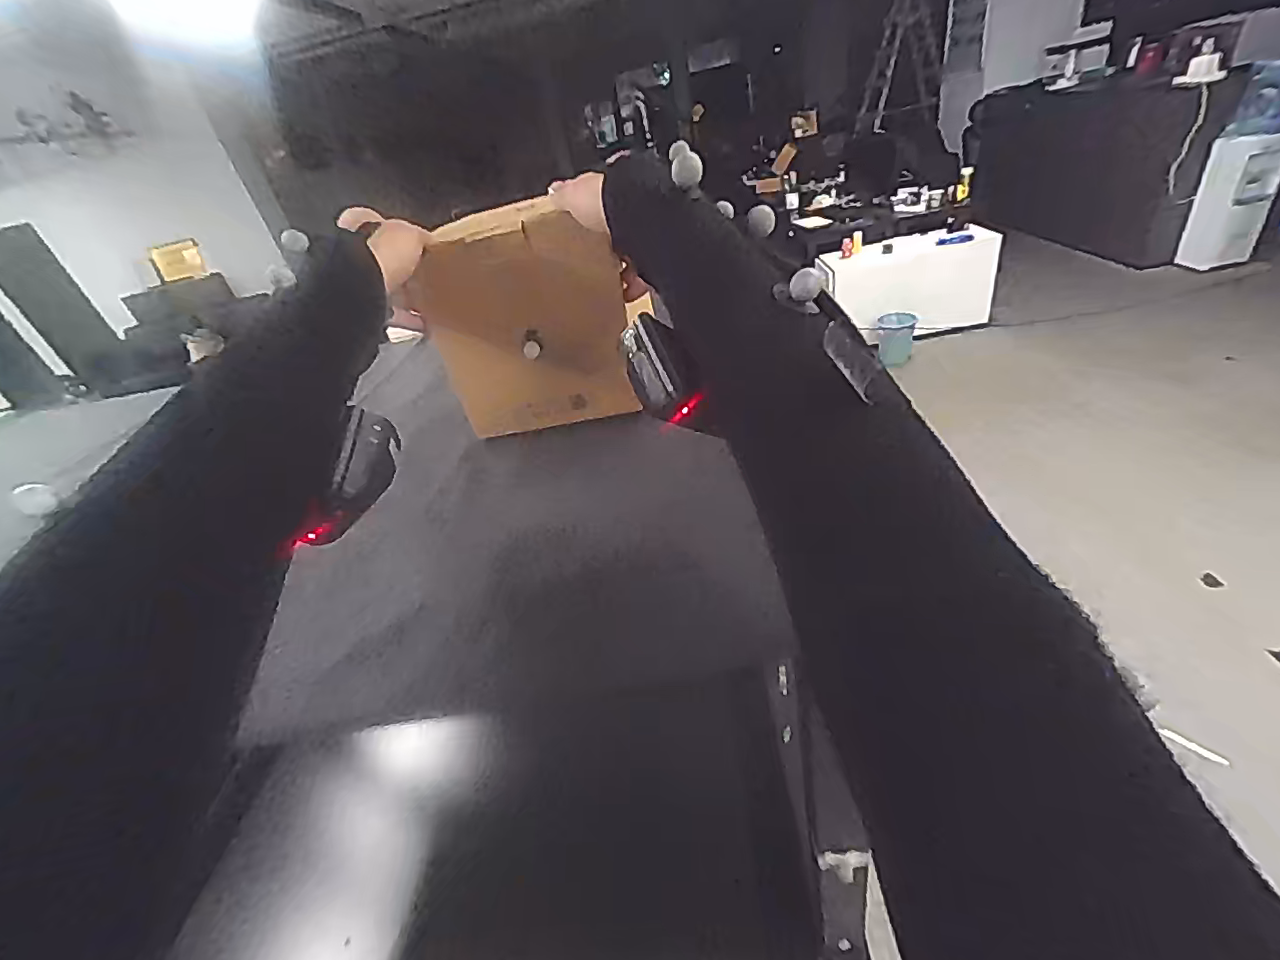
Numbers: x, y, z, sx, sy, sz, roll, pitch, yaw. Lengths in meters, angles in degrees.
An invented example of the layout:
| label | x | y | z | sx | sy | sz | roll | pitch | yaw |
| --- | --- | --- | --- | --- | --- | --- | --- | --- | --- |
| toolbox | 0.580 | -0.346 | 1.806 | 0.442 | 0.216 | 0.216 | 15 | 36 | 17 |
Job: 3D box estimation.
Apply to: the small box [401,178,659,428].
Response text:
| label | x | y | z | sx | sy | sz | roll | pitch | yaw |
| --- | --- | --- | --- | --- | --- | --- | --- | --- | --- |
| small box | -0.080 | -0.159 | 0.507 | 0.168 | 0.176 | 0.179 | -9 | 34 | 11 |
